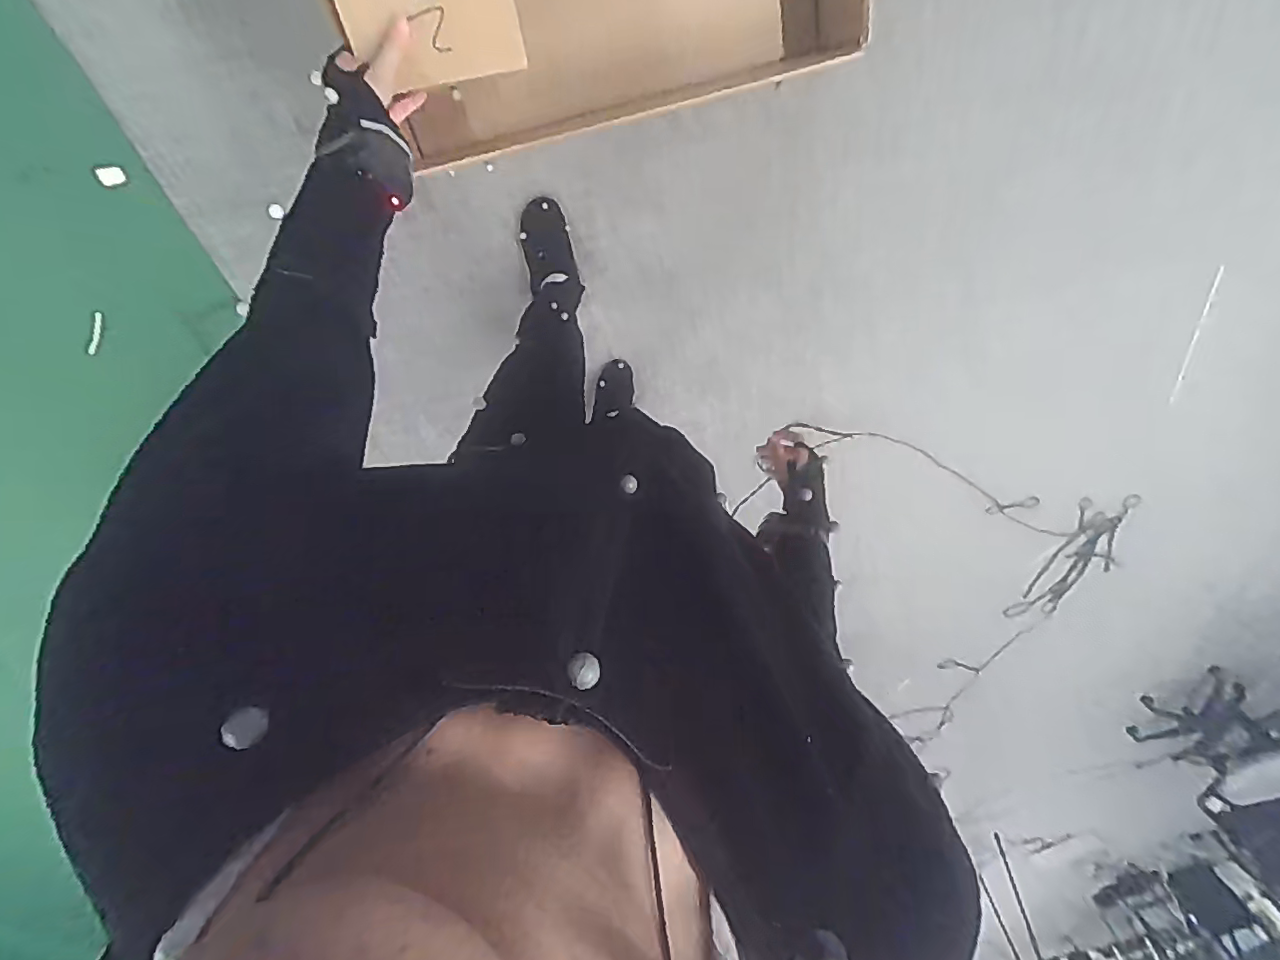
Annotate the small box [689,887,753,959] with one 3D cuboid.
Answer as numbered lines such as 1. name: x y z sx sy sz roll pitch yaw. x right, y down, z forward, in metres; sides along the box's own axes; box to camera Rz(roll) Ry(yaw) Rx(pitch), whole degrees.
1. small box: 0.274 1.517 1.834 0.179 0.176 0.168 -12 126 -2

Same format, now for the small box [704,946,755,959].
1. small box: 0.291 1.606 1.697 0.179 0.176 0.168 -12 127 -2

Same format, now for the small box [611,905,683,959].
1. small box: 0.021 1.574 1.830 0.179 0.176 0.168 -31 125 12
